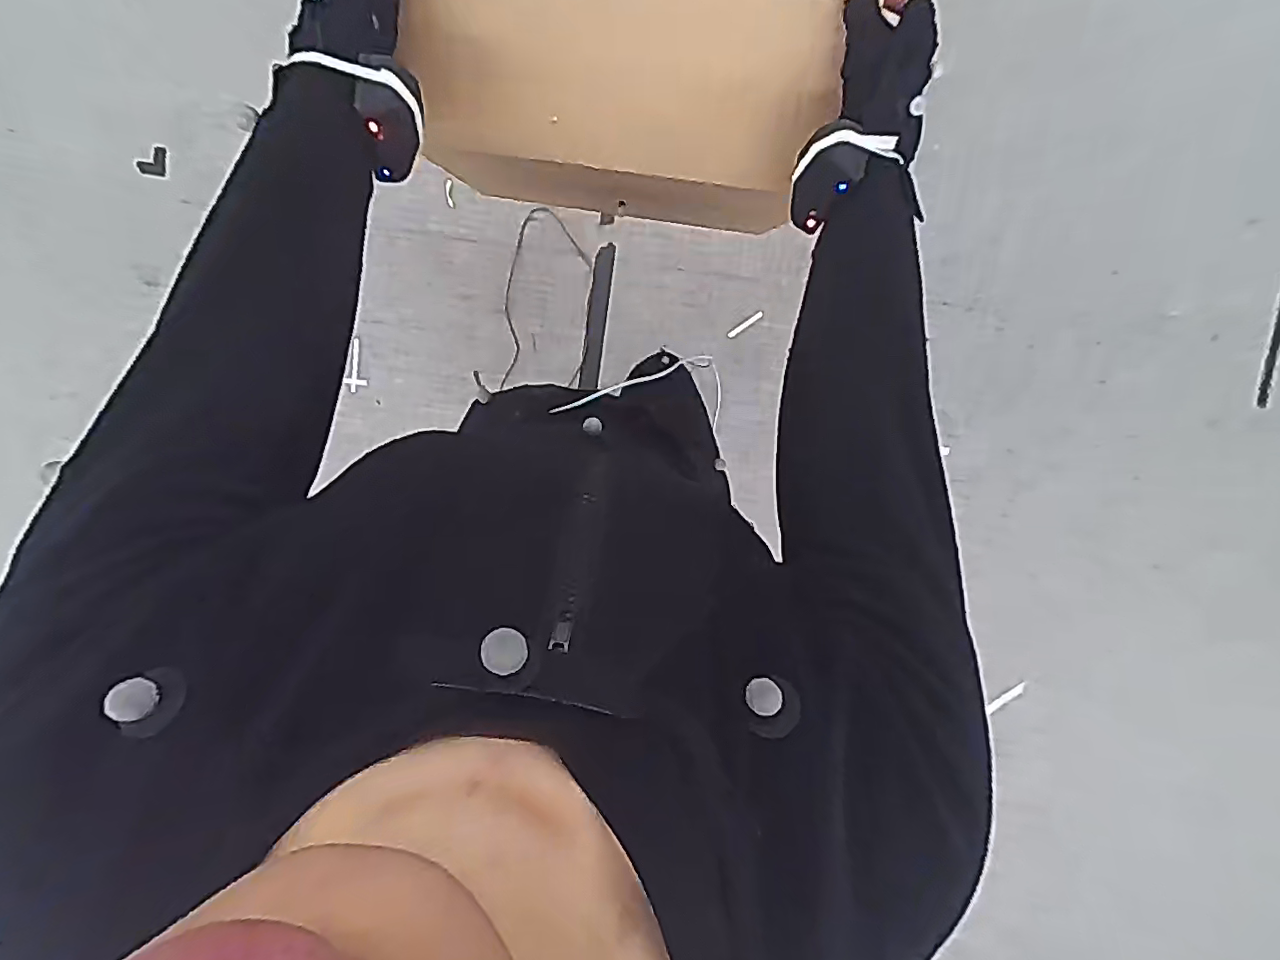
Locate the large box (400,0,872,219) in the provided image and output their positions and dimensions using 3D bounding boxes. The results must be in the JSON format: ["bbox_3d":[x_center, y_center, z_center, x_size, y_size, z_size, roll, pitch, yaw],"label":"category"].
[{"bbox_3d":[0.002,-0.484,0.583,0.408,0.320,0.320,6,108,-3],"label":"large box"}]
